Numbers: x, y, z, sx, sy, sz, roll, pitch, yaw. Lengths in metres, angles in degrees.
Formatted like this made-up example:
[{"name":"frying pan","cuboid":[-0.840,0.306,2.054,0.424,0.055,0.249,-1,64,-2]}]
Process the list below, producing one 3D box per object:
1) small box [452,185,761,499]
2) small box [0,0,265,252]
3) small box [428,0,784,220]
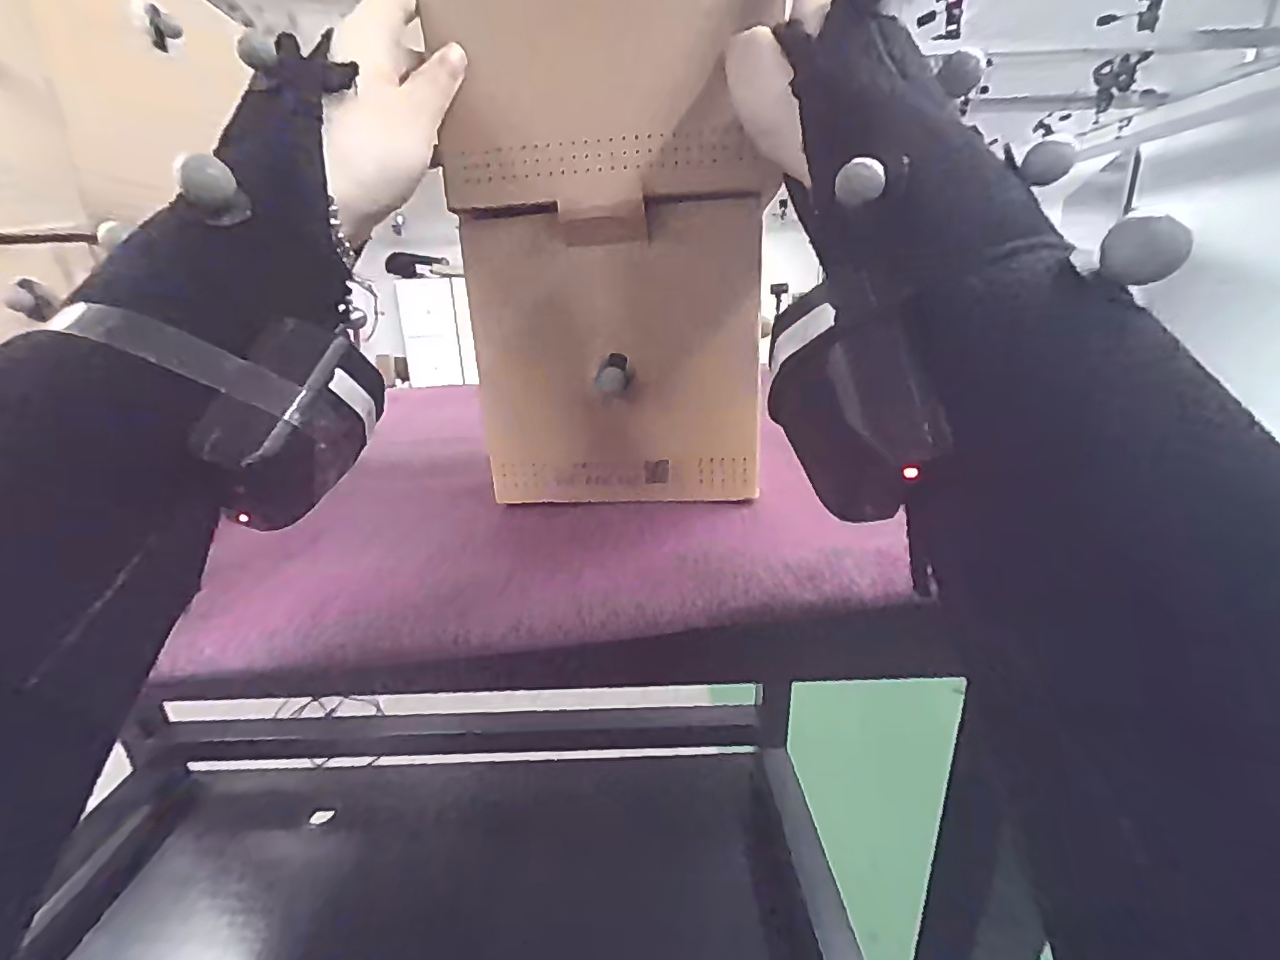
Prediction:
[{"name":"small box","cuboid":[-0.005,-0.090,0.378,0.168,0.176,0.179,-1,18,7]},{"name":"small box","cuboid":[-0.366,-0.227,0.325,0.168,0.176,0.179,-1,17,-3]},{"name":"small box","cuboid":[-0.012,-0.246,0.320,0.179,0.176,0.168,-1,17,6]}]
